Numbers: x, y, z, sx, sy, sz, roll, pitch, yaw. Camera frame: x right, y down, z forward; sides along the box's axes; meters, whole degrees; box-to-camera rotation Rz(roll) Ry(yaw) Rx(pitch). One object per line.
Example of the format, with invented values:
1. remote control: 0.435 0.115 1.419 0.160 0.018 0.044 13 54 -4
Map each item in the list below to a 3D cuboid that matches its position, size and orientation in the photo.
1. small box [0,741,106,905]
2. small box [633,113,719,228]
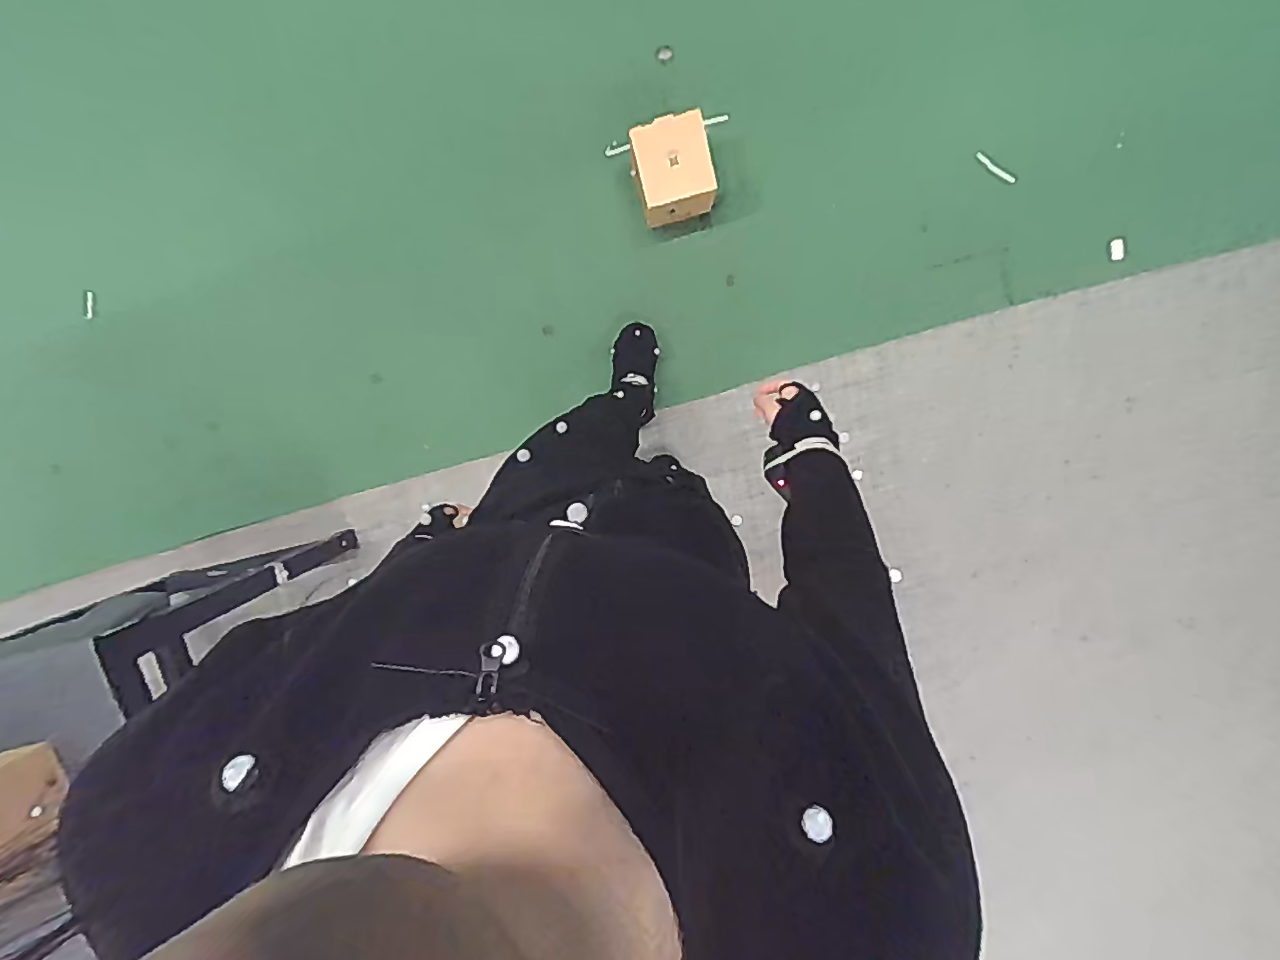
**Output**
1. small box: -0.988 0.529 0.816 0.179 0.176 0.168 -14 97 1
2. small box: 0.089 -0.728 1.299 0.168 0.176 0.179 -14 97 5
